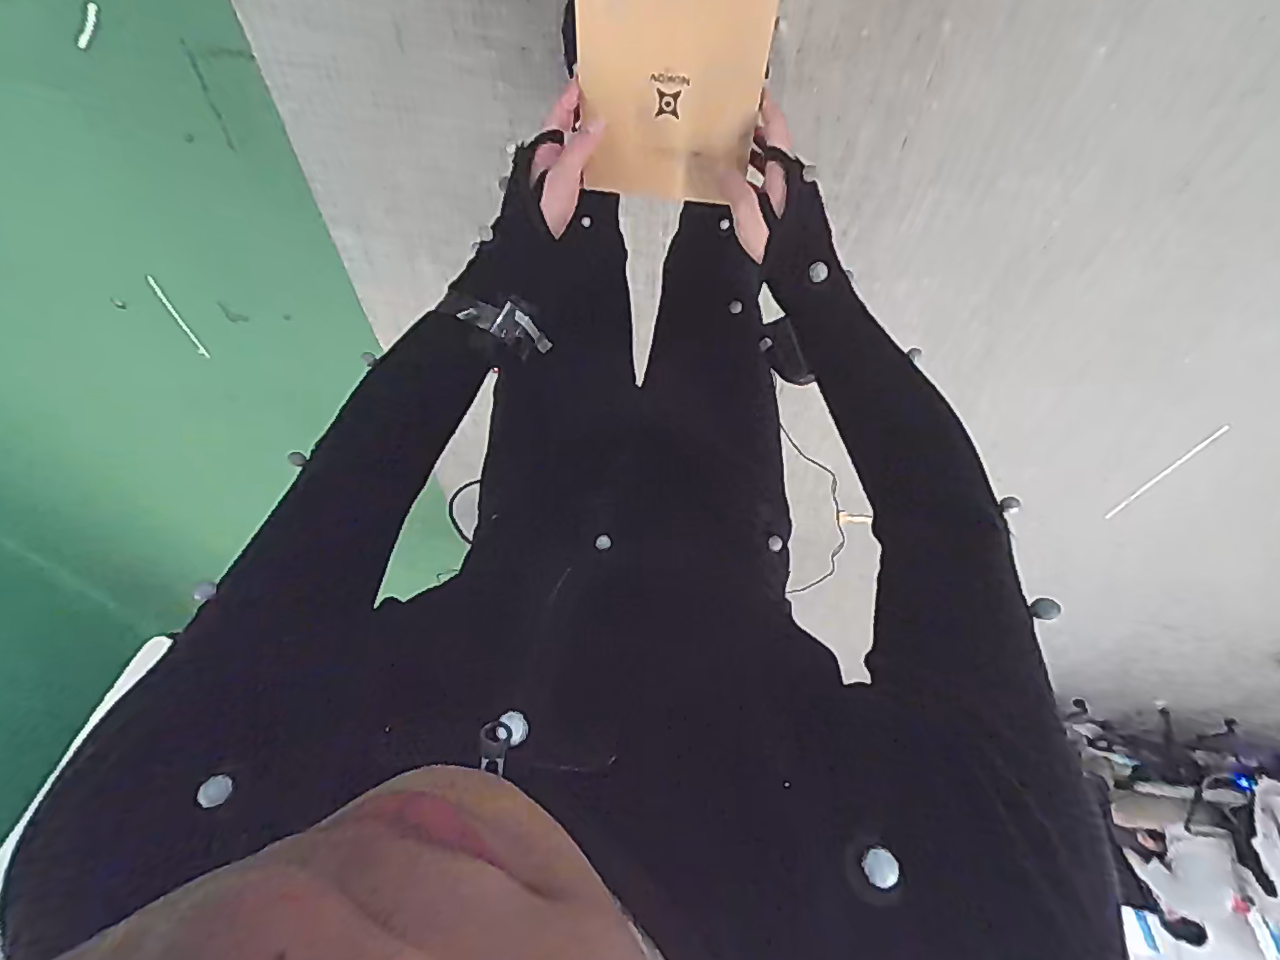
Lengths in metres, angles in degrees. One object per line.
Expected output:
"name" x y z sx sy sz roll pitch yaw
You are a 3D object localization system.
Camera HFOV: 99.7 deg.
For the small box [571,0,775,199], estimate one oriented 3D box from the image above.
"small box" 0.033 -0.407 0.525 0.168 0.176 0.179 10 143 4
